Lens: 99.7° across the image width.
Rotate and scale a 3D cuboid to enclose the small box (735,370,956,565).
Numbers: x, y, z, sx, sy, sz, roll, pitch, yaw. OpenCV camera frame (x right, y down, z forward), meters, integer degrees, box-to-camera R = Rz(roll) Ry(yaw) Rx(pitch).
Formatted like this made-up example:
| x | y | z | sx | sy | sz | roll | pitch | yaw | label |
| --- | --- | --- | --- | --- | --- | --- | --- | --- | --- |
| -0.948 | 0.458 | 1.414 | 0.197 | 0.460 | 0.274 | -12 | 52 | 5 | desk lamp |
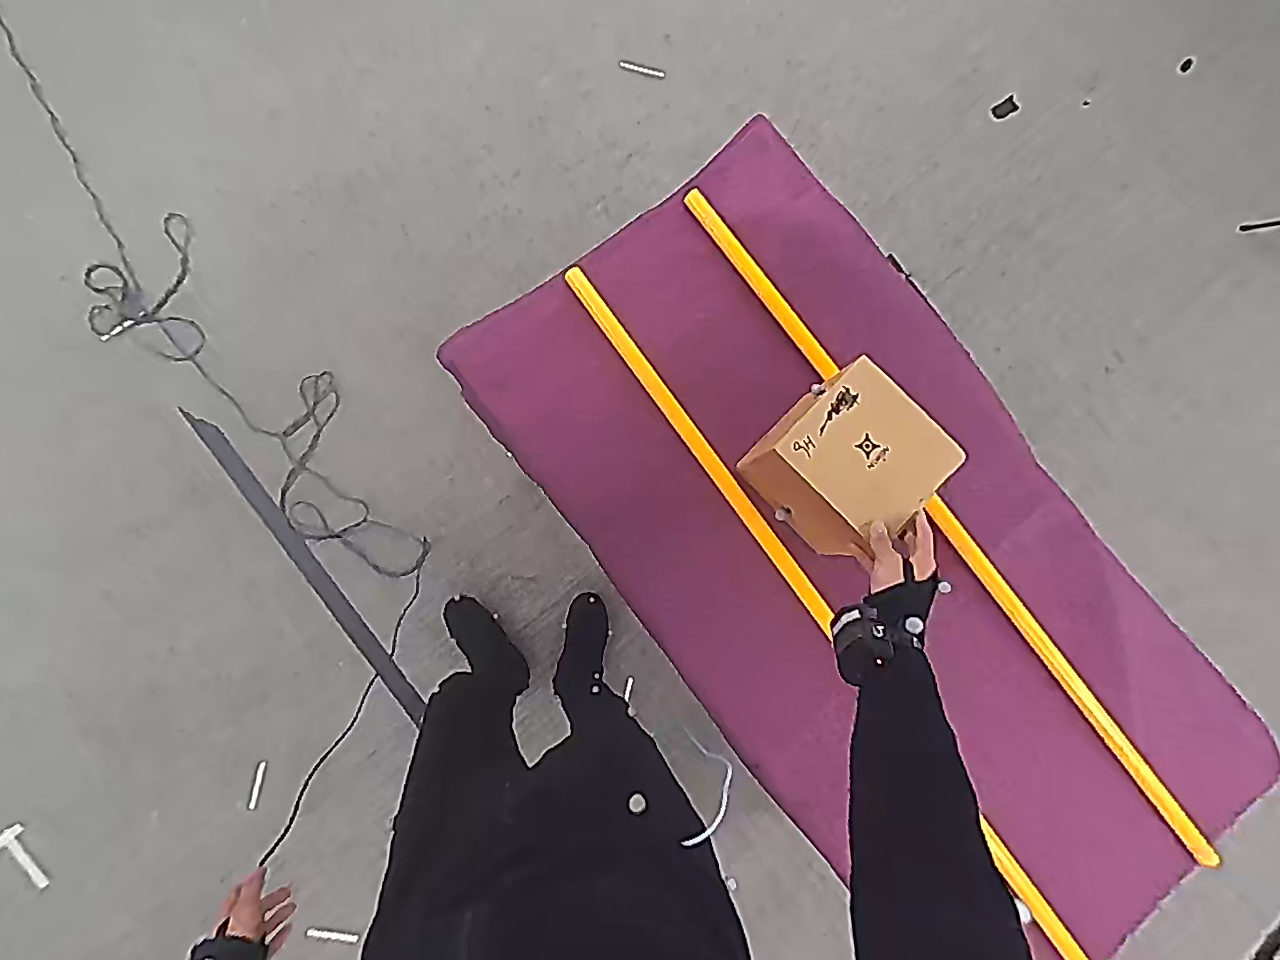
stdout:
| x | y | z | sx | sy | sz | roll | pitch | yaw | label |
| --- | --- | --- | --- | --- | --- | --- | --- | --- | --- |
| 0.256 | -0.010 | 0.713 | 0.168 | 0.176 | 0.179 | -44 | 89 | -9 | small box |
